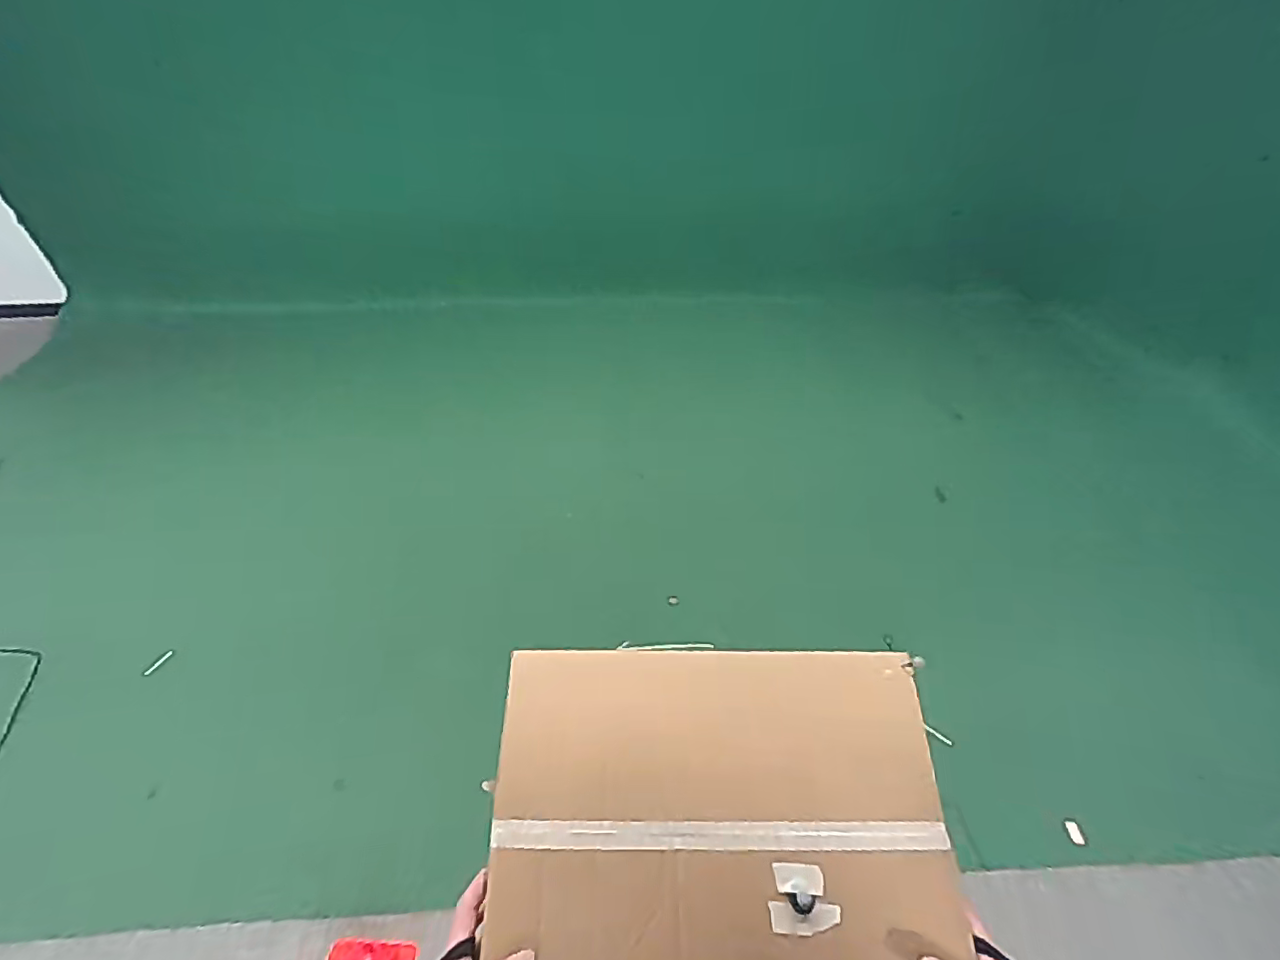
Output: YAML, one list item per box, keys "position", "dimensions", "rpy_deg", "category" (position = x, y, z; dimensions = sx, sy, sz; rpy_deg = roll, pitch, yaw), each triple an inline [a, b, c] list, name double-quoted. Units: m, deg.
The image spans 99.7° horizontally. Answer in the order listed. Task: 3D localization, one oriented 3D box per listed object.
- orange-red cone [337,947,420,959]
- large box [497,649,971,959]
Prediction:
- position: [-0.597, 1.016, 1.046]
  dimensions: [0.199, 0.360, 0.198]
  rpy_deg: [2, 43, 4]
  category: "orange-red cone"
- position: [0.075, 0.386, 0.624]
  dimensions: [0.408, 0.320, 0.320]
  rpy_deg: [-1, 63, 0]
  category: "large box"
